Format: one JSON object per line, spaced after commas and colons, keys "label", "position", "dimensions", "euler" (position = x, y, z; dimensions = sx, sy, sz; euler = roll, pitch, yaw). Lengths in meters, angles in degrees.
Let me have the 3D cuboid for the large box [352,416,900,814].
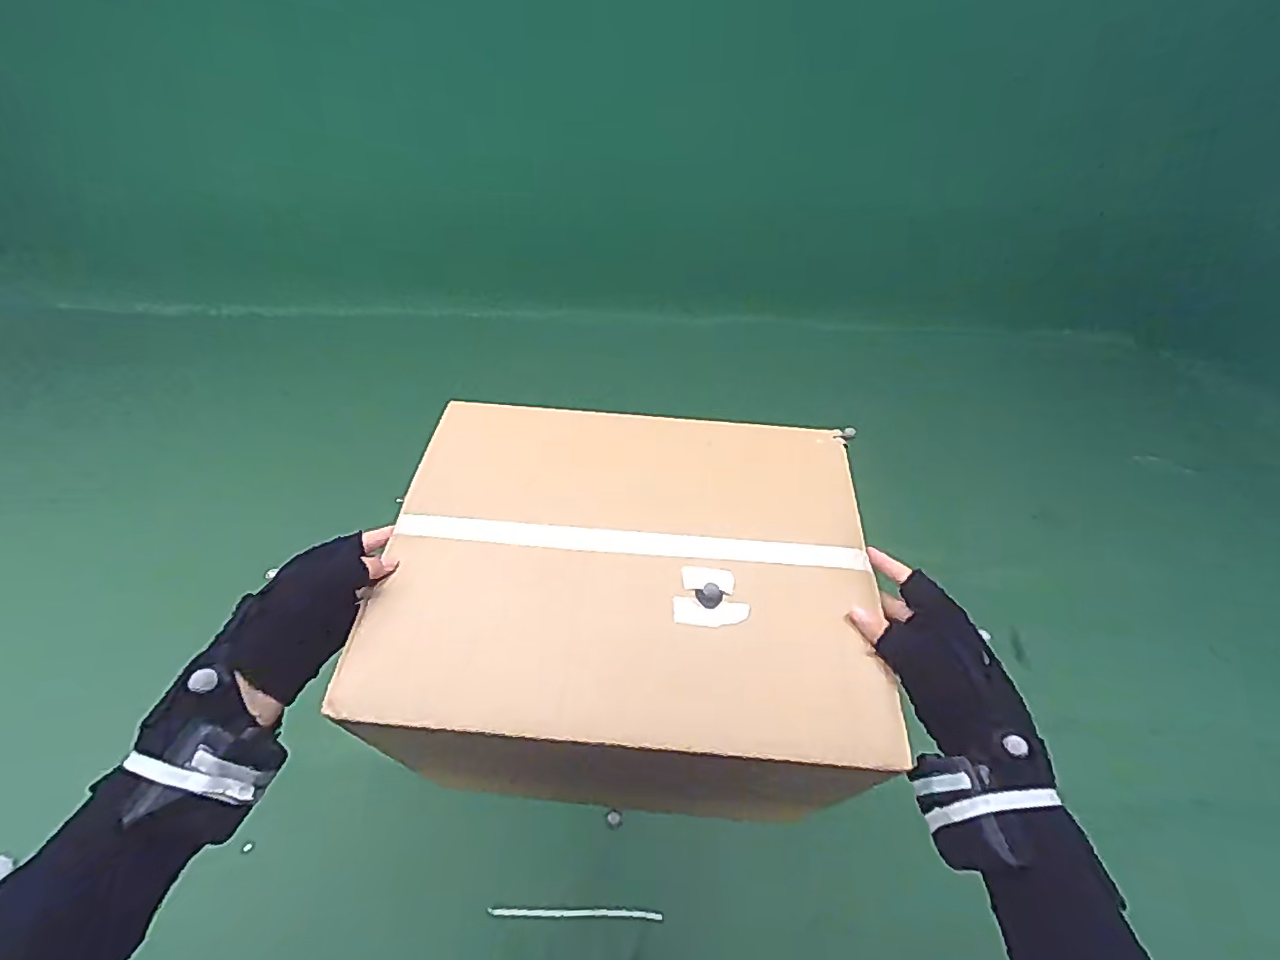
{"label": "large box", "position": [-0.007, 0.154, 0.592], "dimensions": [0.408, 0.320, 0.320], "euler": [4, 52, 2]}
